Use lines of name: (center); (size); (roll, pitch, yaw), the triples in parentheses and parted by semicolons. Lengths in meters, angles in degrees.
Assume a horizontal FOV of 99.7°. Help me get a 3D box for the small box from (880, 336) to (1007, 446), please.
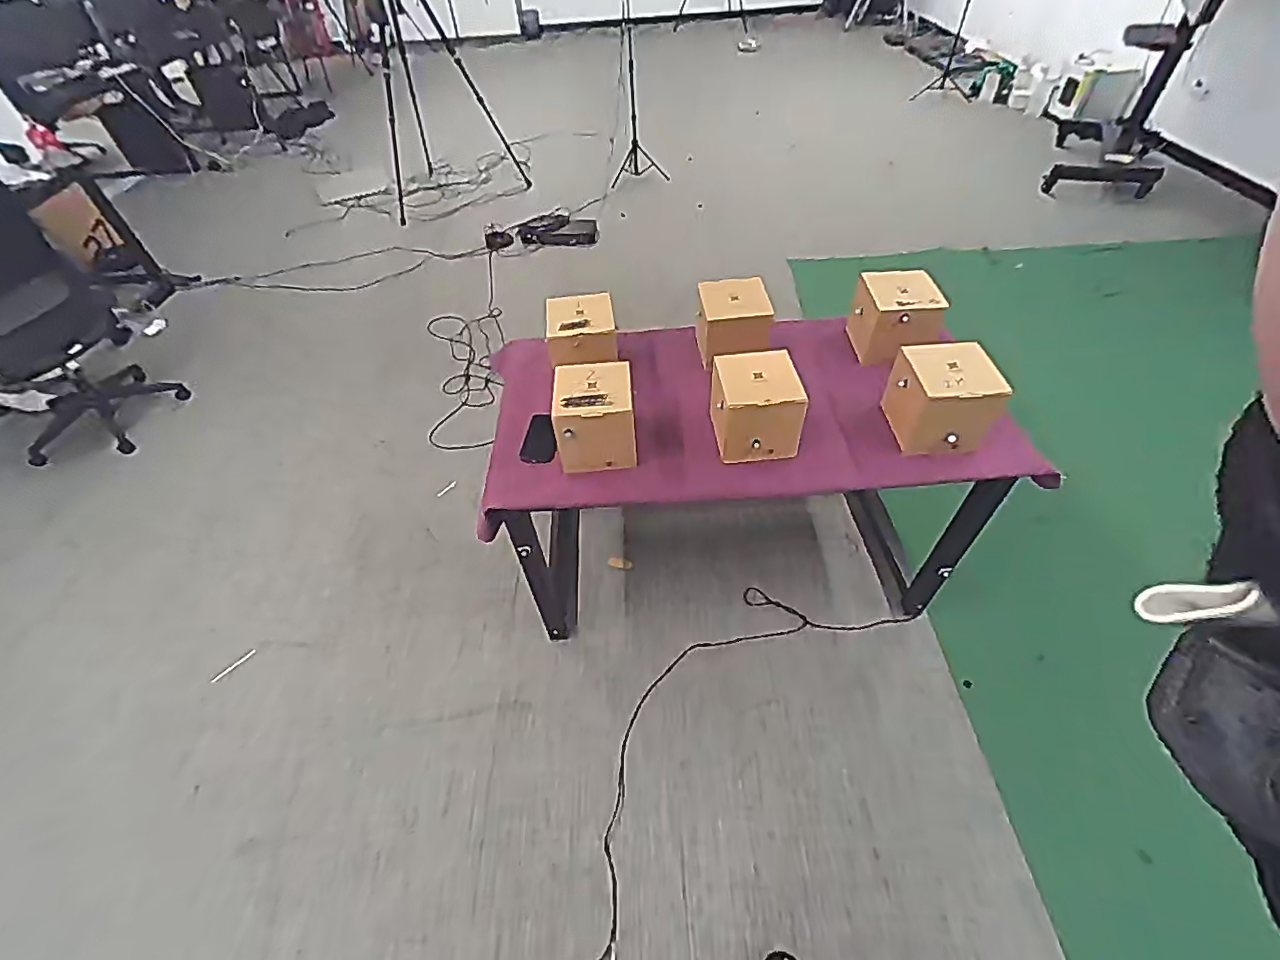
small box: (0.649, -0.194, 1.184); (0.168, 0.176, 0.179); (-3, 49, 3)

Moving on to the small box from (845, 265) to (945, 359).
small box: (0.644, -0.433, 1.394); (0.168, 0.176, 0.179); (-3, 49, 2)

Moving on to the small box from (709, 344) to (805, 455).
small box: (0.249, -0.179, 1.202); (0.168, 0.176, 0.179); (-5, 49, -1)

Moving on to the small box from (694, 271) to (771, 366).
small box: (0.233, -0.419, 1.410); (0.168, 0.176, 0.179); (-5, 50, 0)

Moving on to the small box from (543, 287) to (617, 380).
small box: (-0.152, -0.370, 1.390); (0.168, 0.176, 0.179); (-7, 49, -3)
